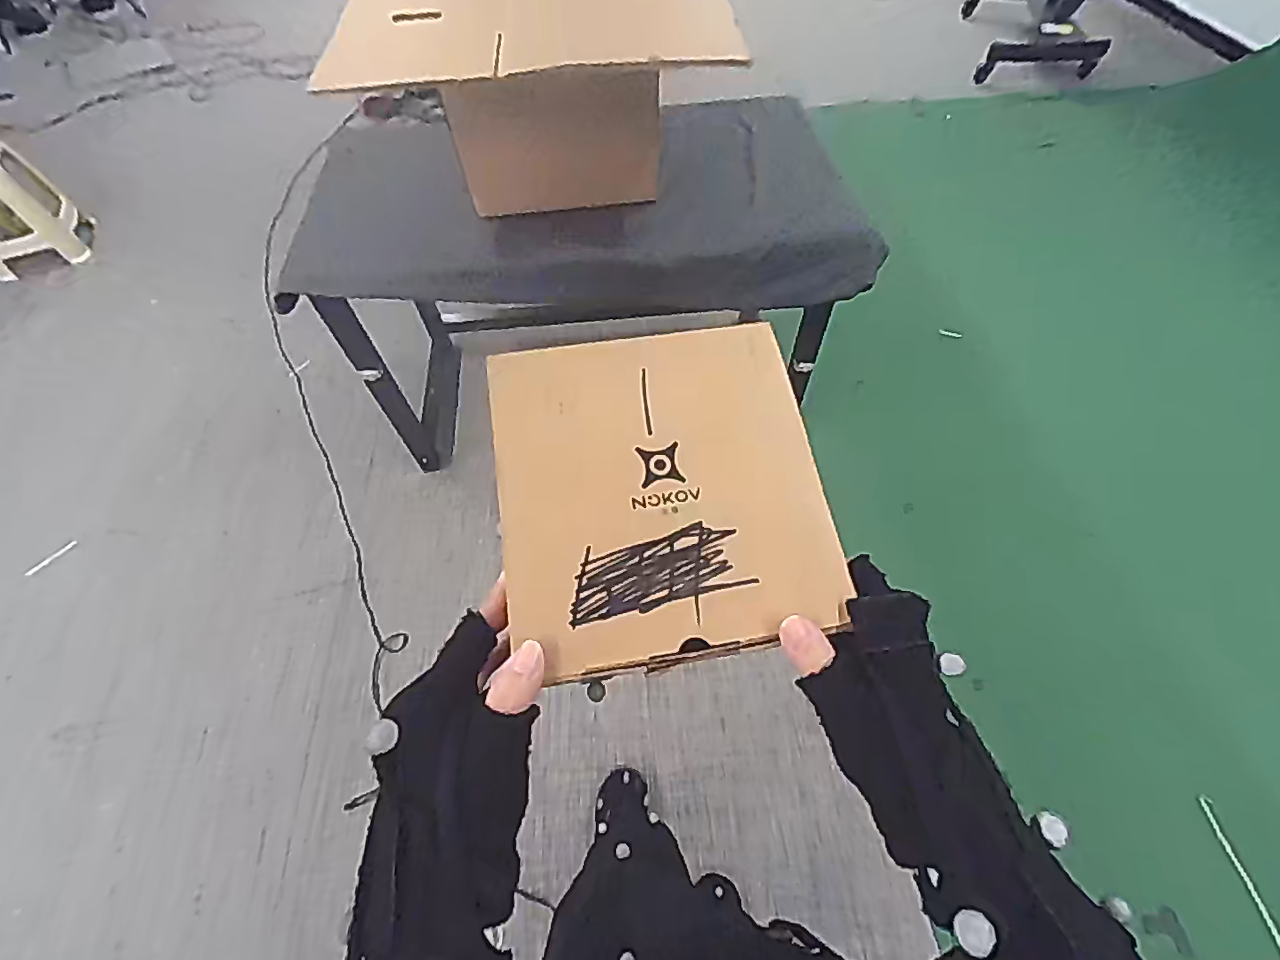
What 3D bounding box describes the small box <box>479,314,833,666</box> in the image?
[{"bbox_3d":[-0.001,0.020,0.358,0.168,0.176,0.179,-8,70,-6],"label":"small box"}]
